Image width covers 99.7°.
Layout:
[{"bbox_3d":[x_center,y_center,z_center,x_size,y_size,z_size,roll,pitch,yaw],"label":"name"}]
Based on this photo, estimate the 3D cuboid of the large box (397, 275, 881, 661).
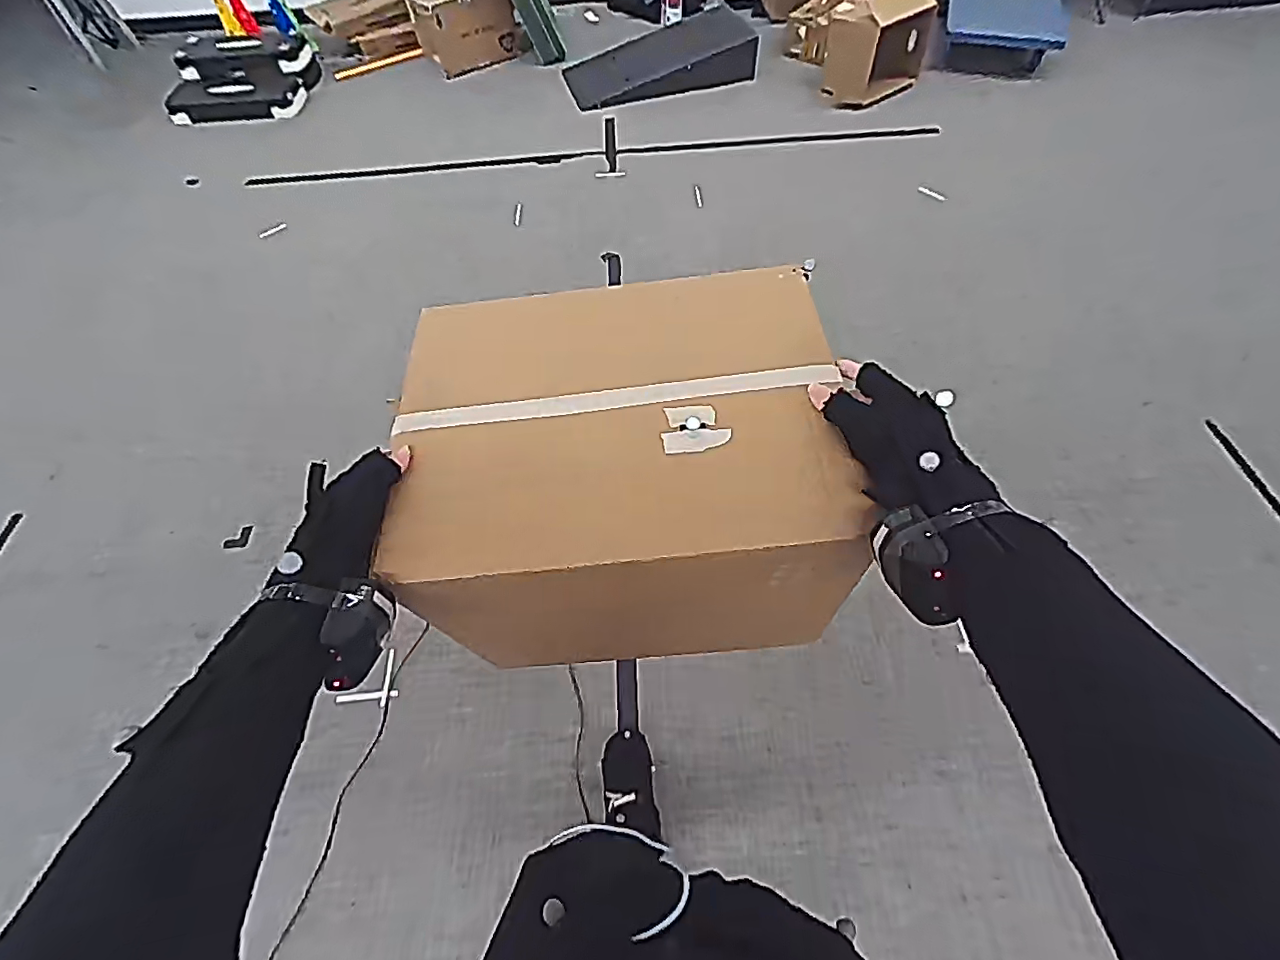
[{"bbox_3d":[-0.004,0.006,0.637,0.408,0.320,0.320,-6,59,2],"label":"large box"}]
